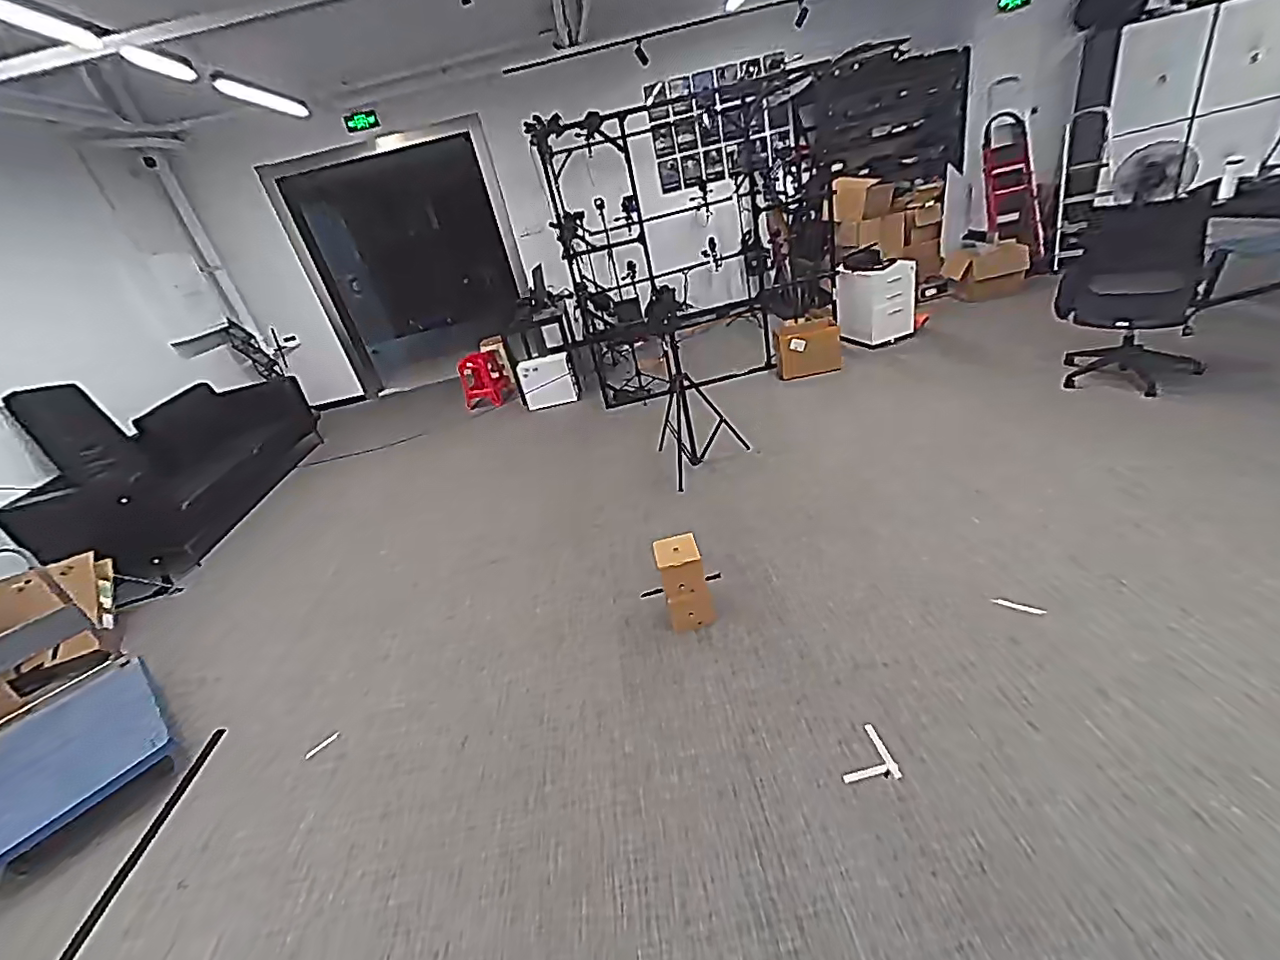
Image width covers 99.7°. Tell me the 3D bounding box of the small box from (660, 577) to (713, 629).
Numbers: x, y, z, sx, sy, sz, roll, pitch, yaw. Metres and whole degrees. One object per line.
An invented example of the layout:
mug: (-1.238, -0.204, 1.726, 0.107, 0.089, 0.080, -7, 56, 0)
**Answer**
small box: (0.189, 0.482, 2.192, 0.168, 0.176, 0.179, -15, 27, -2)

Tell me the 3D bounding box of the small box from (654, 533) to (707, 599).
small box: (0.156, 0.337, 2.124, 0.168, 0.176, 0.179, -14, 29, 1)
